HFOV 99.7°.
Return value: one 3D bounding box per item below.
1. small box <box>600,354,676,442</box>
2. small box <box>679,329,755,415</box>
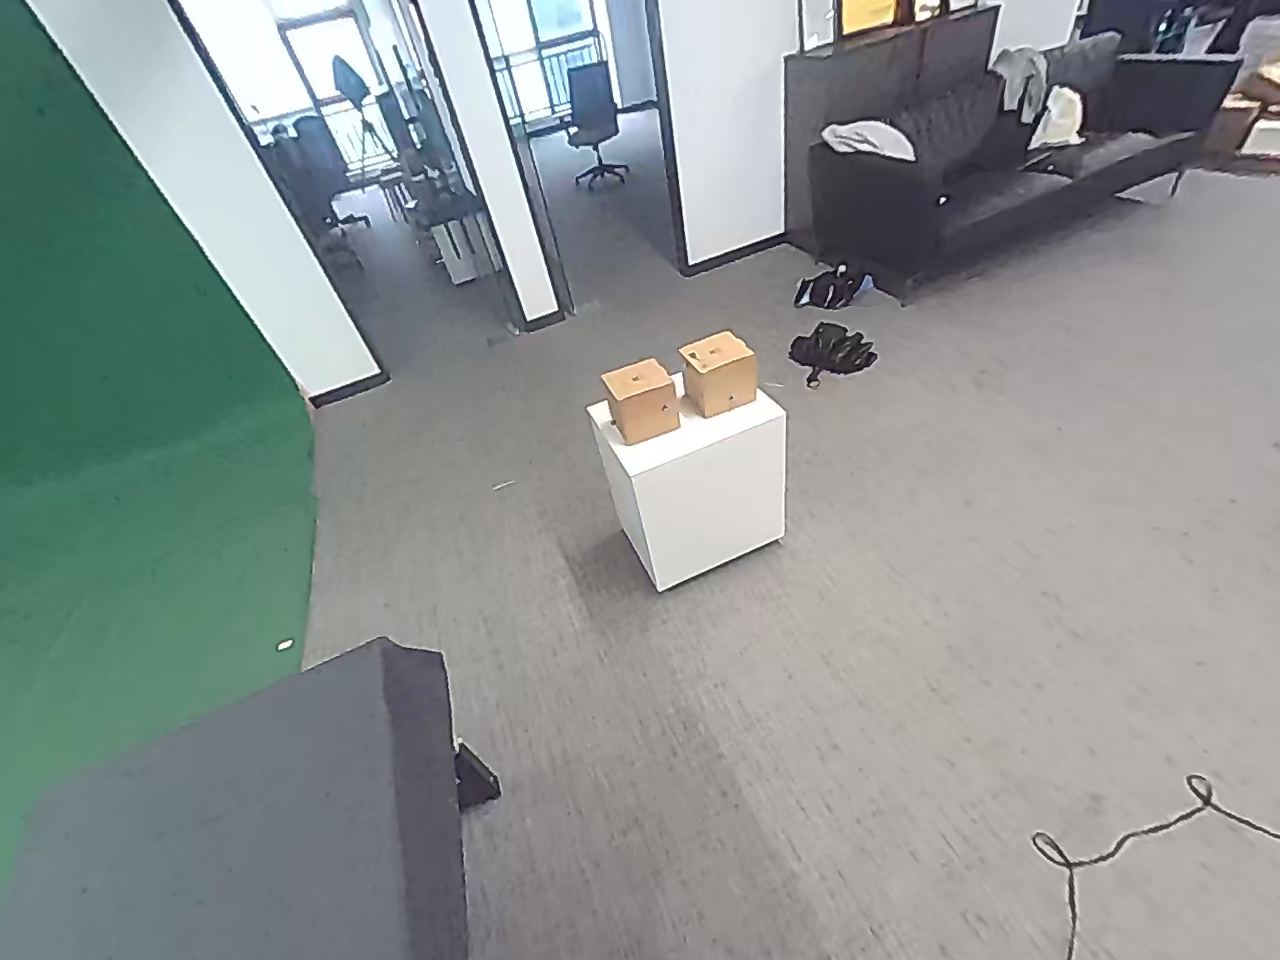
[{"bbox_3d":[0.000,-0.242,1.604,0.179,0.176,0.168,-21,42,-10],"label":"small box"},{"bbox_3d":[0.231,-0.327,1.641,0.179,0.176,0.168,-21,43,-10],"label":"small box"}]
